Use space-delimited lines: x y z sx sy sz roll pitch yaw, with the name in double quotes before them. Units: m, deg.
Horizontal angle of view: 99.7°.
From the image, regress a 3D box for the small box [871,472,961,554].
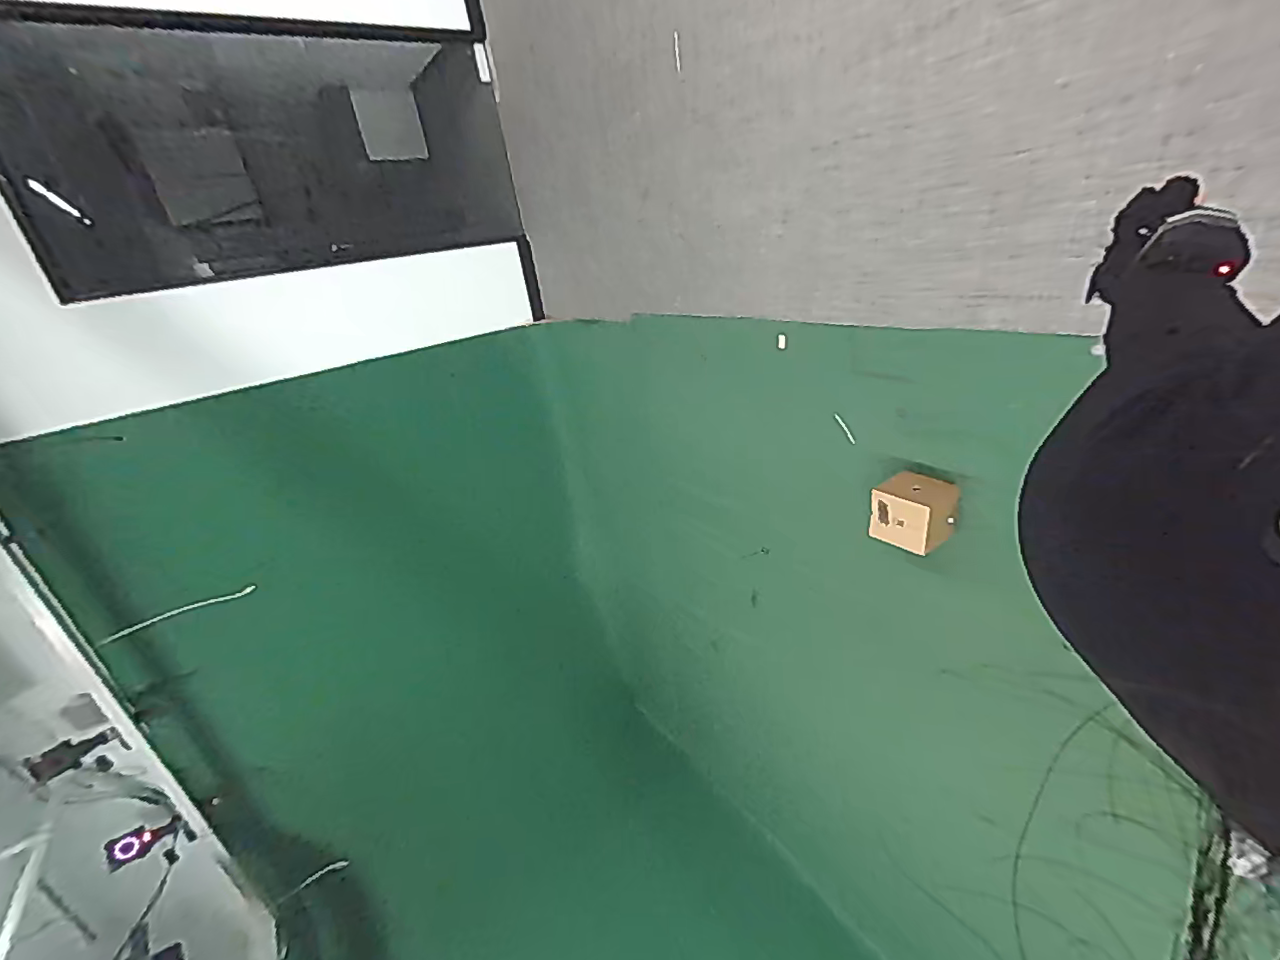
"small box" 0.823 0.091 1.621 0.179 0.176 0.168 25 131 49
